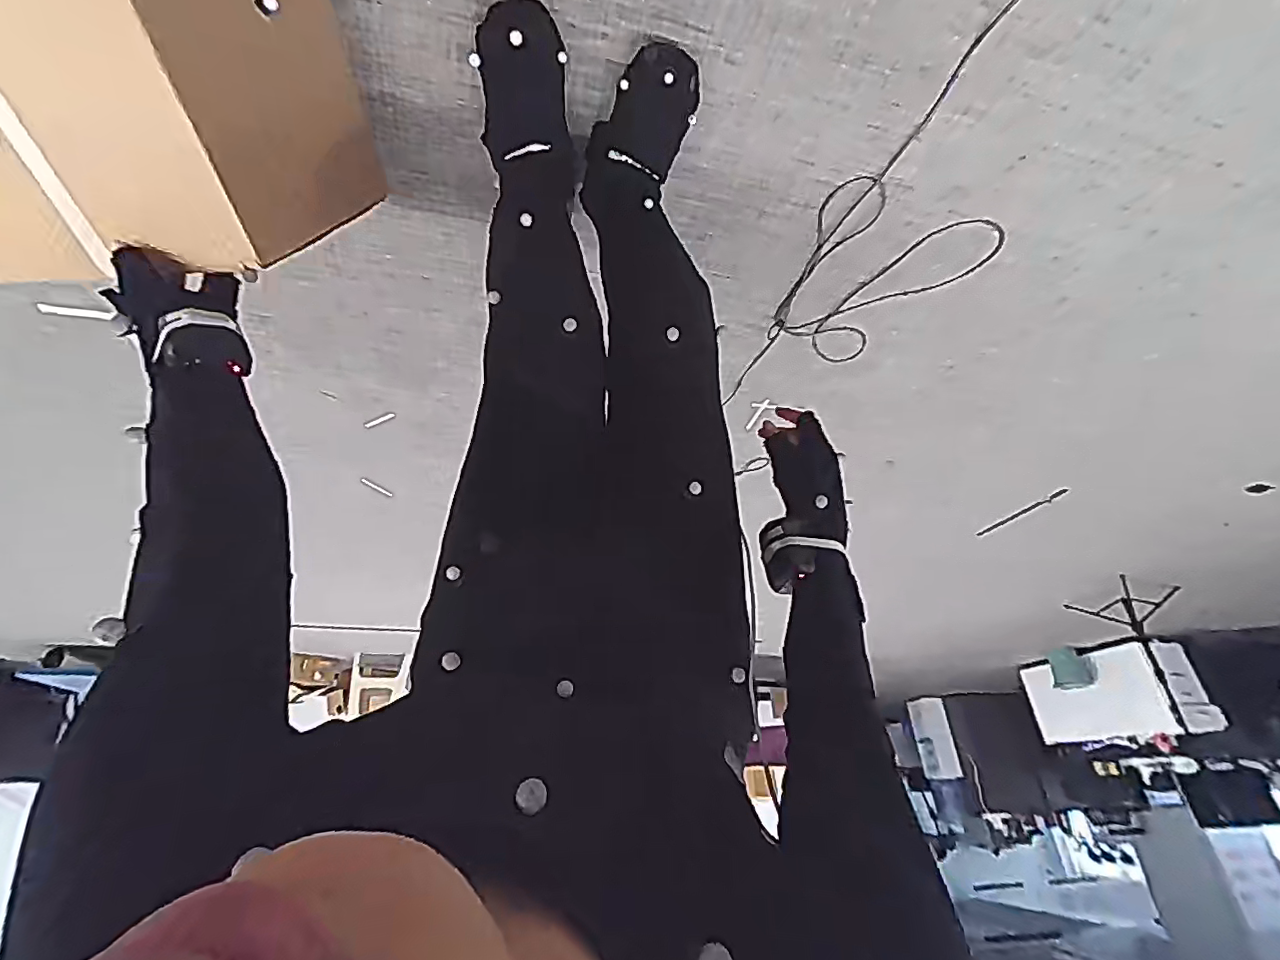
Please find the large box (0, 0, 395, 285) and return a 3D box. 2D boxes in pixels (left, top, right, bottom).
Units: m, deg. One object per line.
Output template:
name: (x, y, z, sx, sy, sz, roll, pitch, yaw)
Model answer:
large box: (-0.529, -0.467, 0.556, 0.320, 0.320, 0.408, 0, 133, 9)
